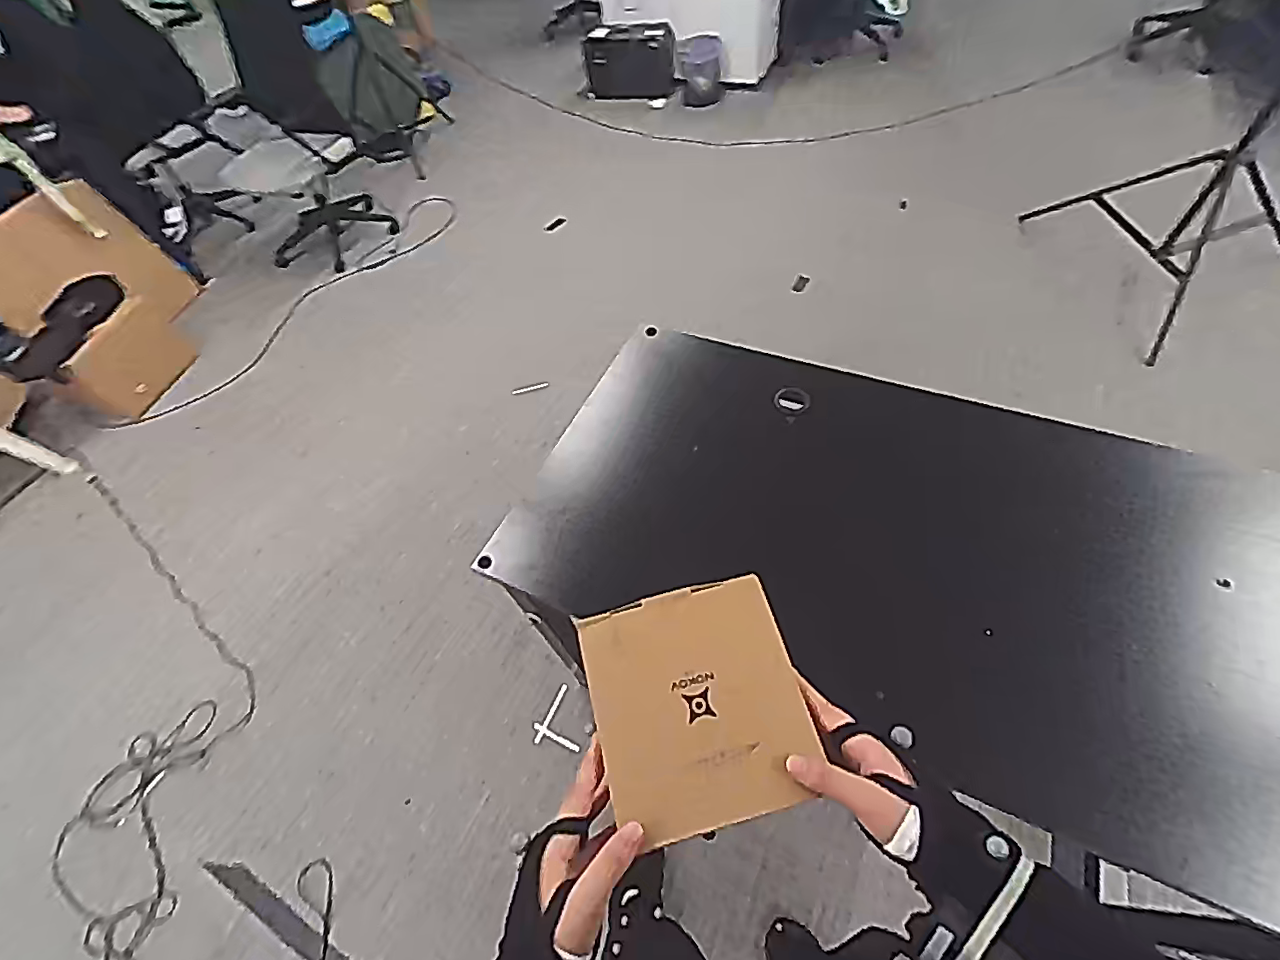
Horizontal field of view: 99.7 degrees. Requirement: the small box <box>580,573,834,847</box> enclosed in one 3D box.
[{"bbox_3d":[0.046,0.209,0.496,0.168,0.176,0.179,-13,62,-5],"label":"small box"}]
